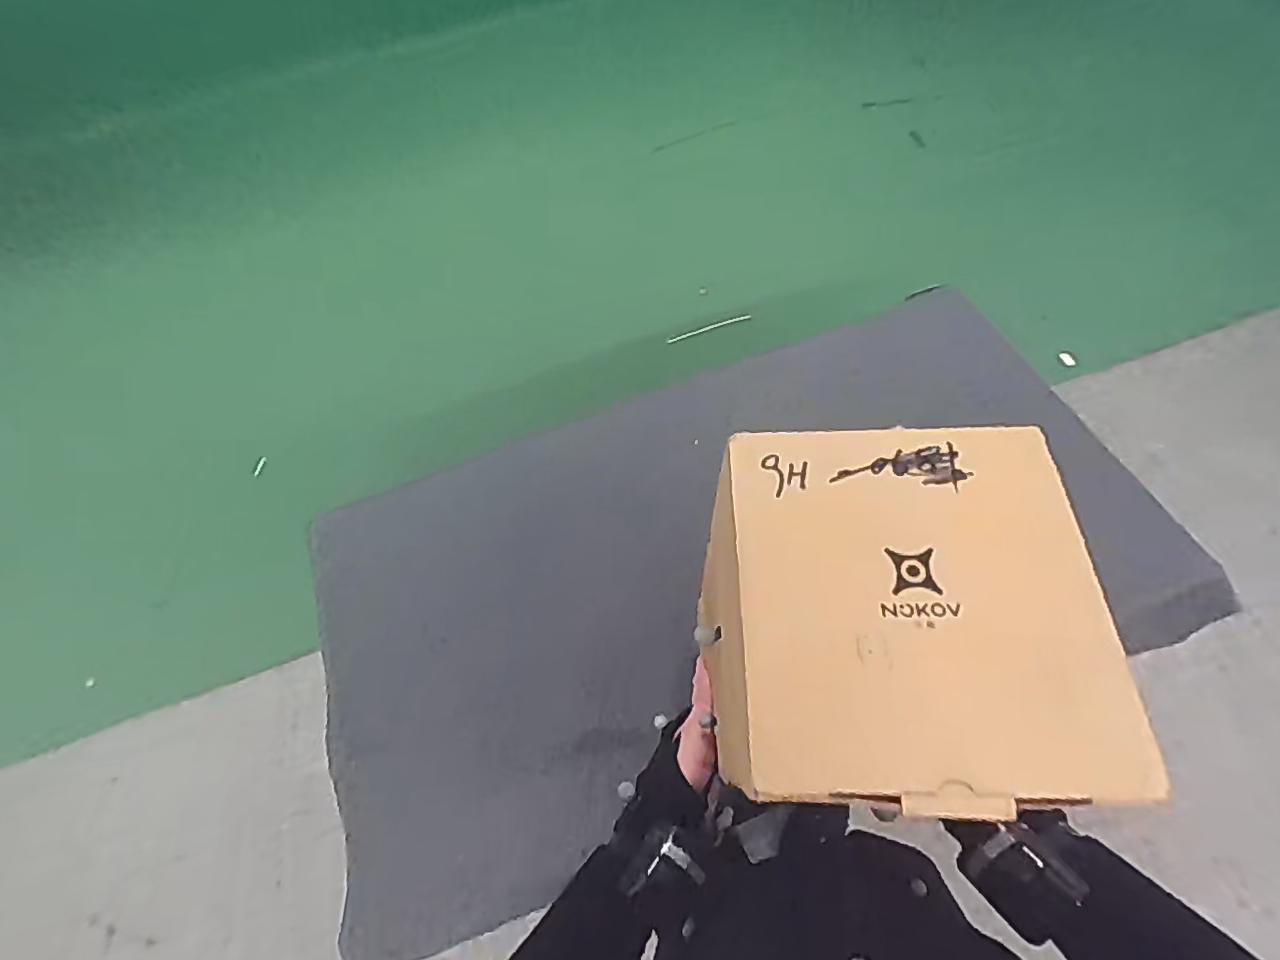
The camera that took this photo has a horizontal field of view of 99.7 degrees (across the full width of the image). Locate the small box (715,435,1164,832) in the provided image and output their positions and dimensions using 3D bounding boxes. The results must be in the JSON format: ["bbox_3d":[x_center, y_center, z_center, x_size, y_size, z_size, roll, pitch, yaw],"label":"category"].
[{"bbox_3d":[0.133,0.088,0.324,0.168,0.176,0.179,-1,67,4],"label":"small box"}]
